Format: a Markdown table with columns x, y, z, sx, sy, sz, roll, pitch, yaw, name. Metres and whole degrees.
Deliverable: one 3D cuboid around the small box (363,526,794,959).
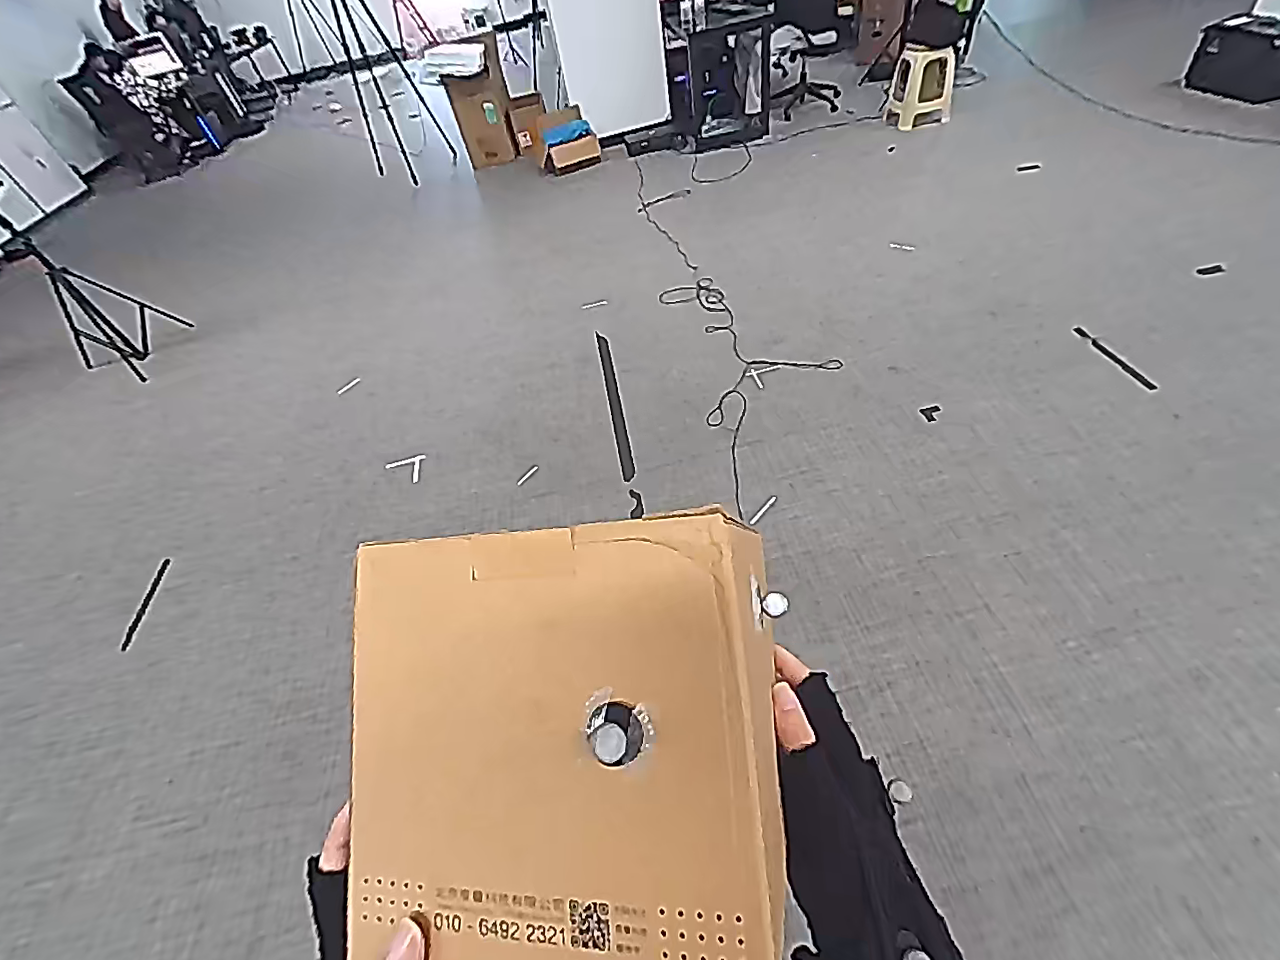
| x | y | z | sx | sy | sz | roll | pitch | yaw | name |
| --- | --- | --- | --- | --- | --- | --- | --- | --- | --- |
| -0.014 | 0.120 | 0.284 | 0.168 | 0.179 | 0.176 | -7 | 80 | 16 | small box |
